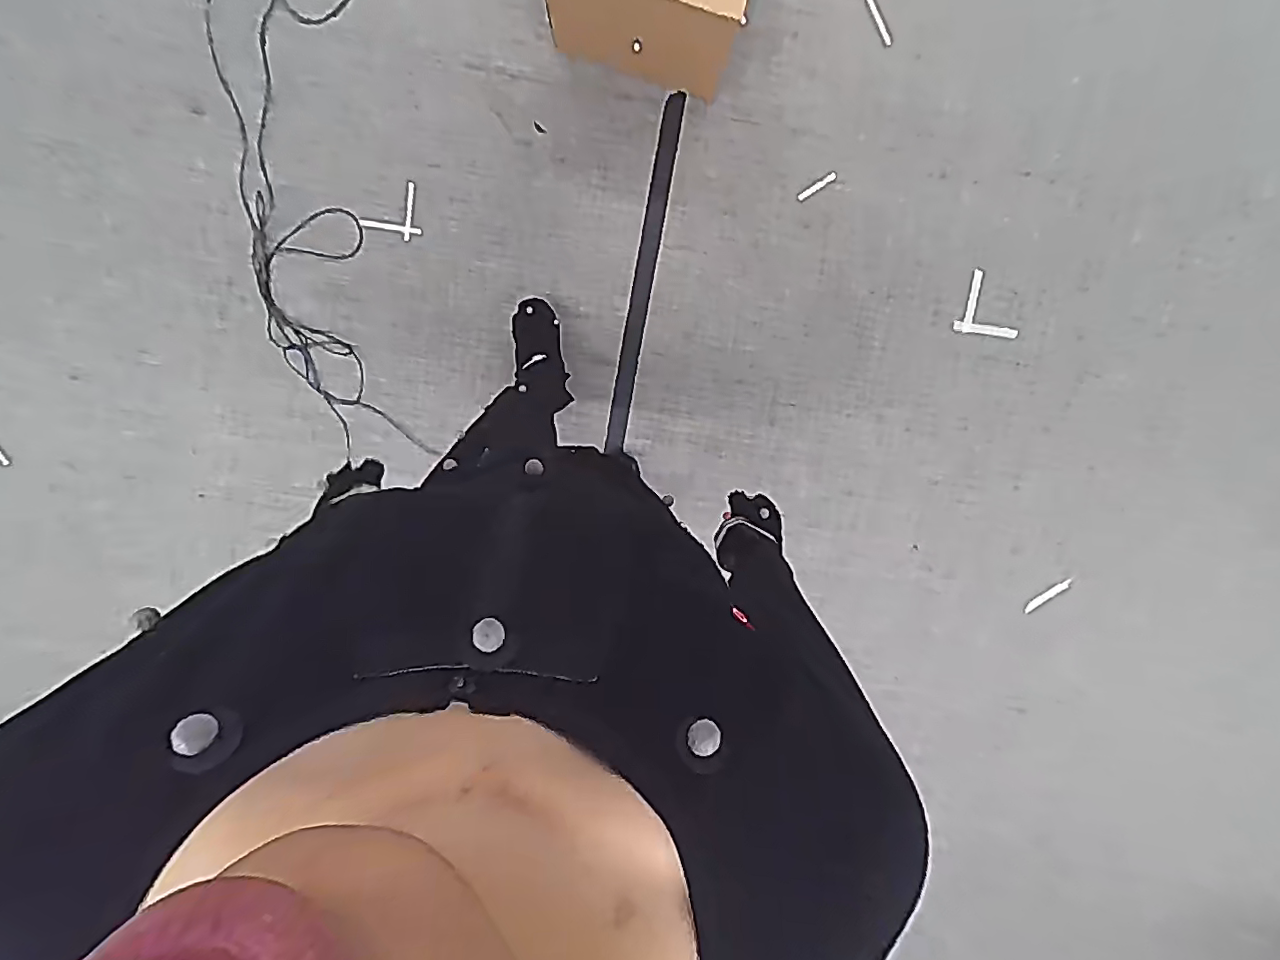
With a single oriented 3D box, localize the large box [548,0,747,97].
[{"bbox_3d":[0.037,-1.099,1.145,0.408,0.320,0.320,15,99,-4],"label":"large box"}]
